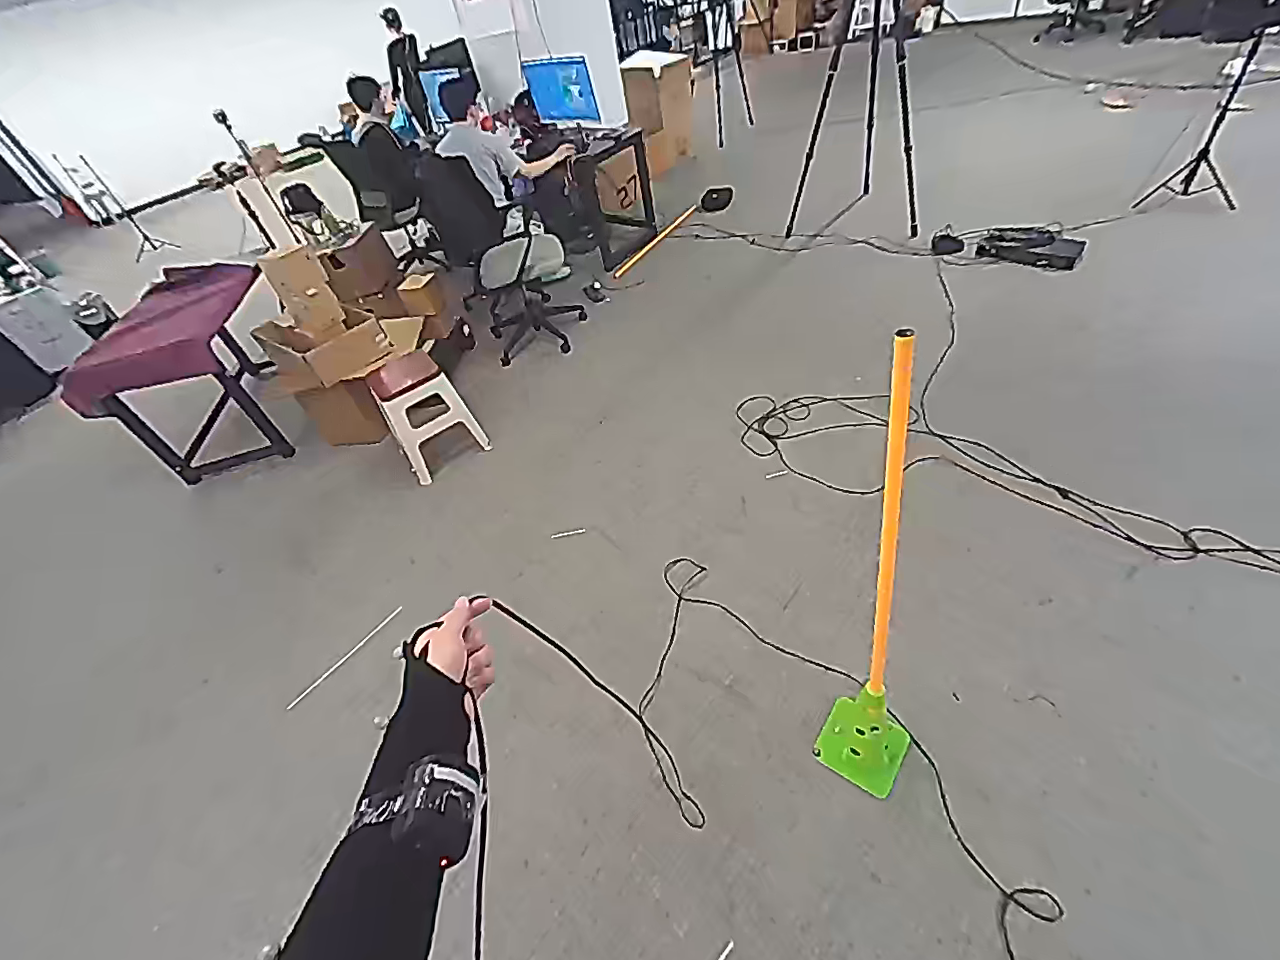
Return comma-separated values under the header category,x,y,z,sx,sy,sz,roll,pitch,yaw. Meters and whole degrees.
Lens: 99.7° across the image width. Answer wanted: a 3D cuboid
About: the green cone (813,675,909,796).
category,x,y,z,sx,sy,sz,roll,pitch,yaw
green cone,0.563,0.587,1.331,0.200,0.368,0.202,22,54,31
